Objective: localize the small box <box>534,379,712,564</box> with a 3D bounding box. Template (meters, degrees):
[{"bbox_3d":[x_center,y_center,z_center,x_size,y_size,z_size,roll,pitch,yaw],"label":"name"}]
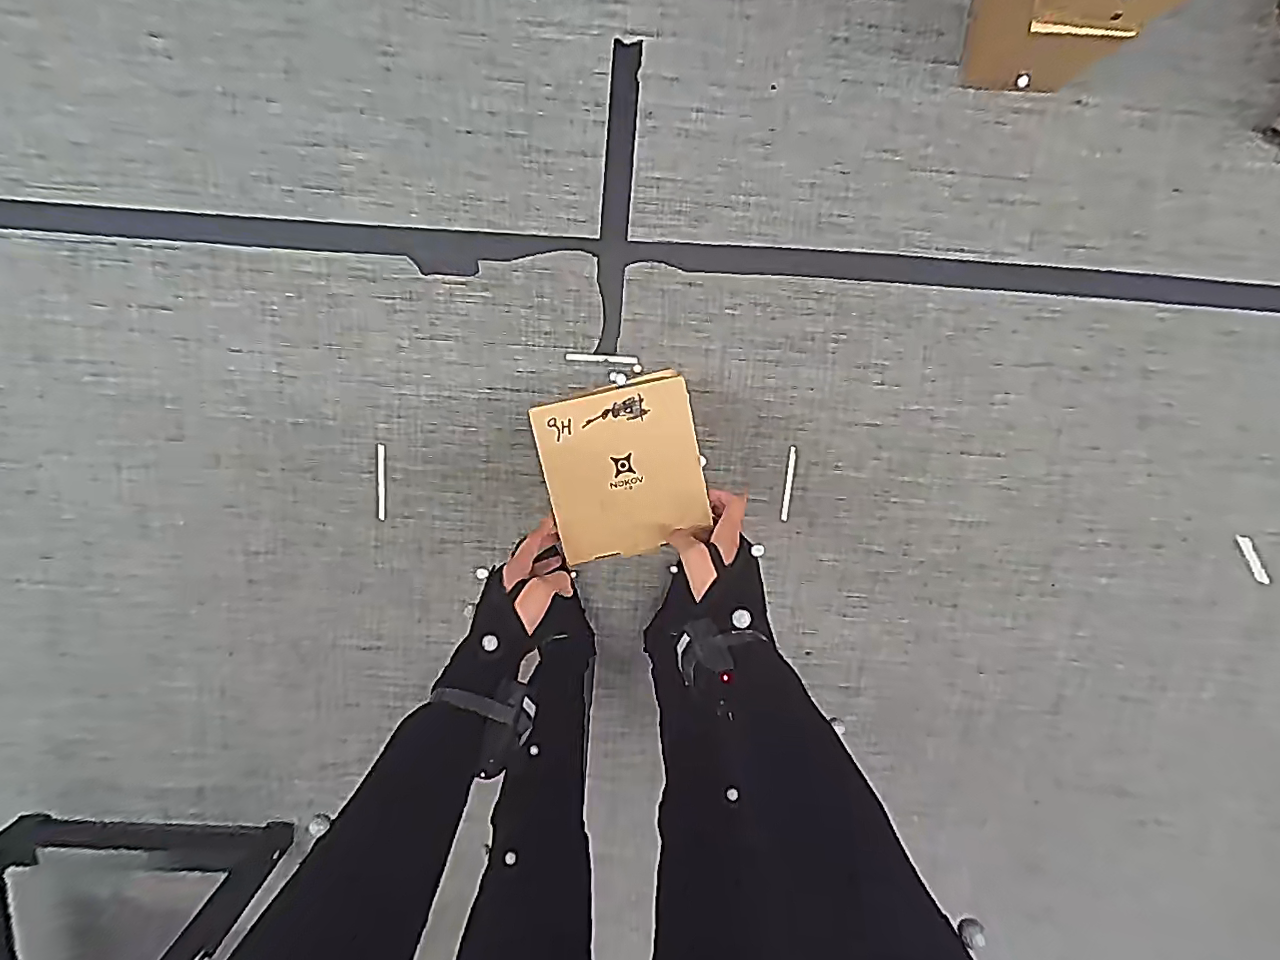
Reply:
[{"bbox_3d":[-0.017,-0.021,0.655,0.168,0.176,0.179,-12,101,0],"label":"small box"}]
